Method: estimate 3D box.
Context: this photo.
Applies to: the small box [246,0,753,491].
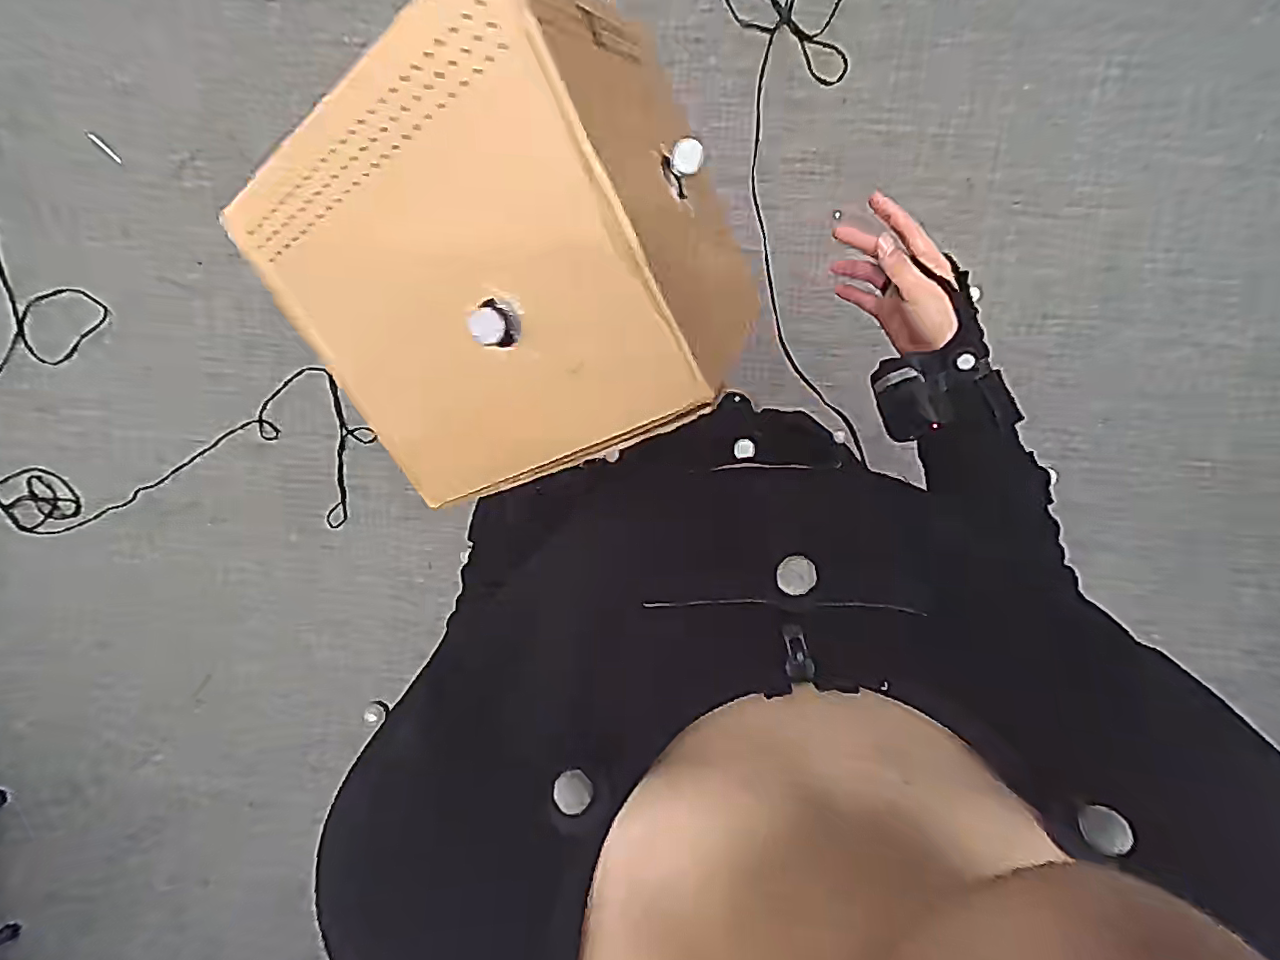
[{"bbox_3d":[-0.060,-0.125,0.297,0.179,0.168,0.176,-20,112,29],"label":"small box"}]
